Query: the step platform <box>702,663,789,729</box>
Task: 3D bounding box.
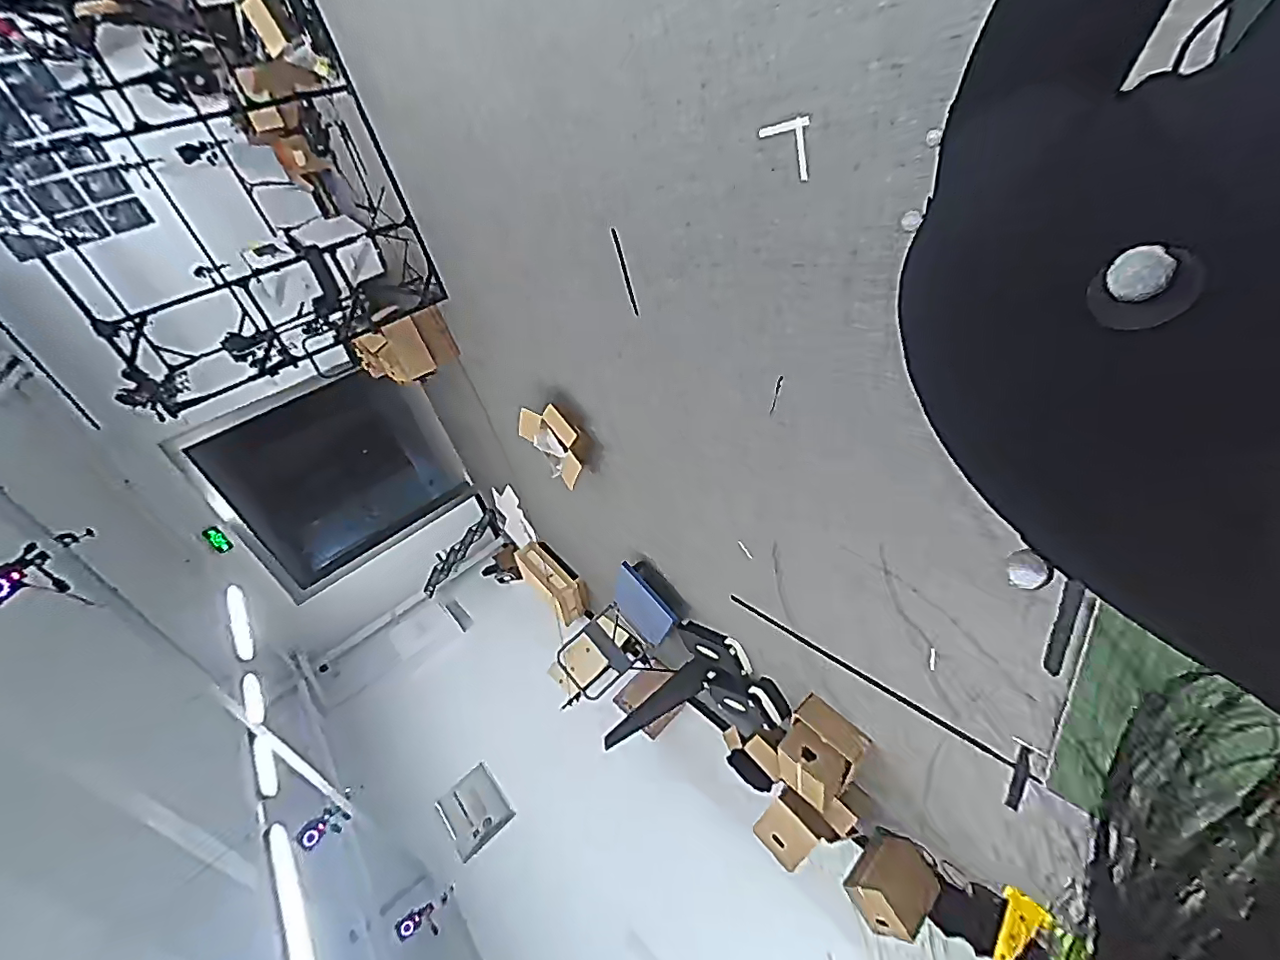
[{"bbox_3d":[0.721,1.519,3.828,0.286,0.204,0.684,58,154,-7],"label":"step platform"}]
